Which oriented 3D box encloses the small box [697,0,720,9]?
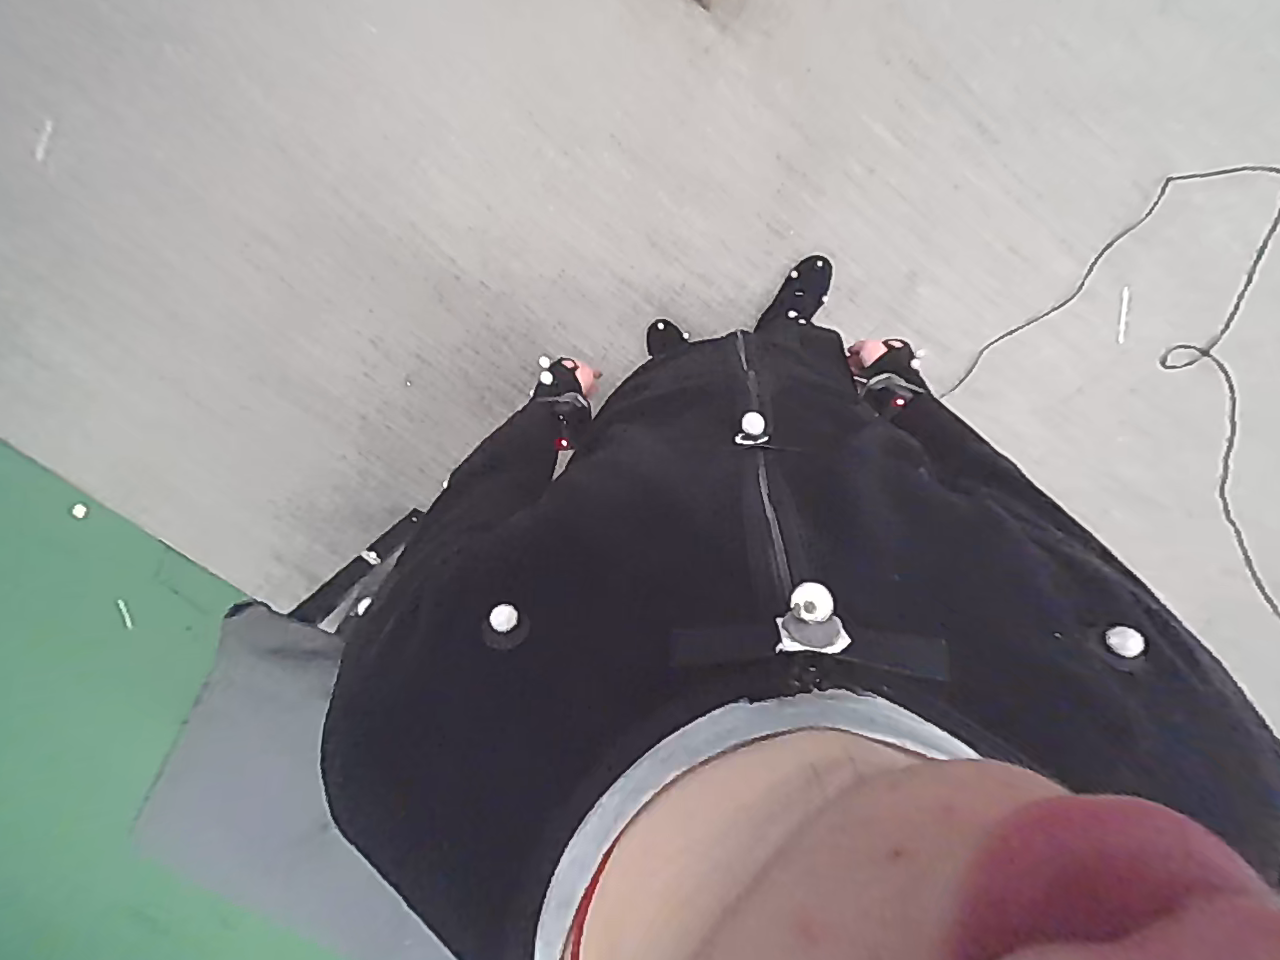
[{"bbox_3d":[0.154,-1.161,1.134,0.168,0.176,0.179,-39,104,15],"label":"small box"}]
